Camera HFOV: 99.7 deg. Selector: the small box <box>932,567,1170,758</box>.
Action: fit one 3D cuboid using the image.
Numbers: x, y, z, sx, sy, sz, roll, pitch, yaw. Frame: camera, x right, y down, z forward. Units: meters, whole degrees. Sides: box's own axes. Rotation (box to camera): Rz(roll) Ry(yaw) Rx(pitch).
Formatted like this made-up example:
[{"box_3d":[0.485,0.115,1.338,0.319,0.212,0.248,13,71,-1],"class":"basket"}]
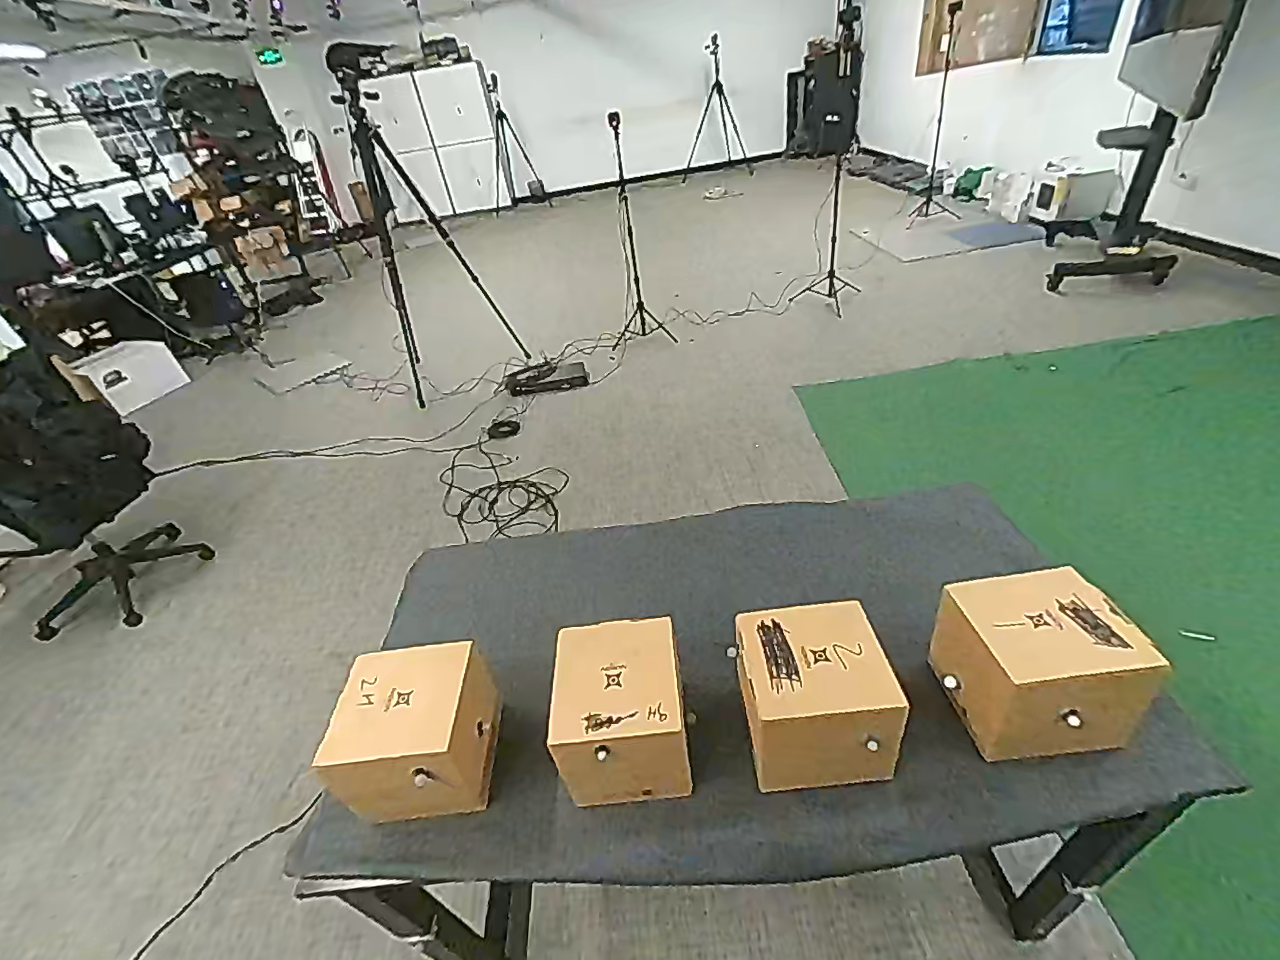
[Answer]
[{"box_3d":[0.520,0.242,0.718,0.179,0.176,0.168,-9,33,4],"class":"small box"}]
